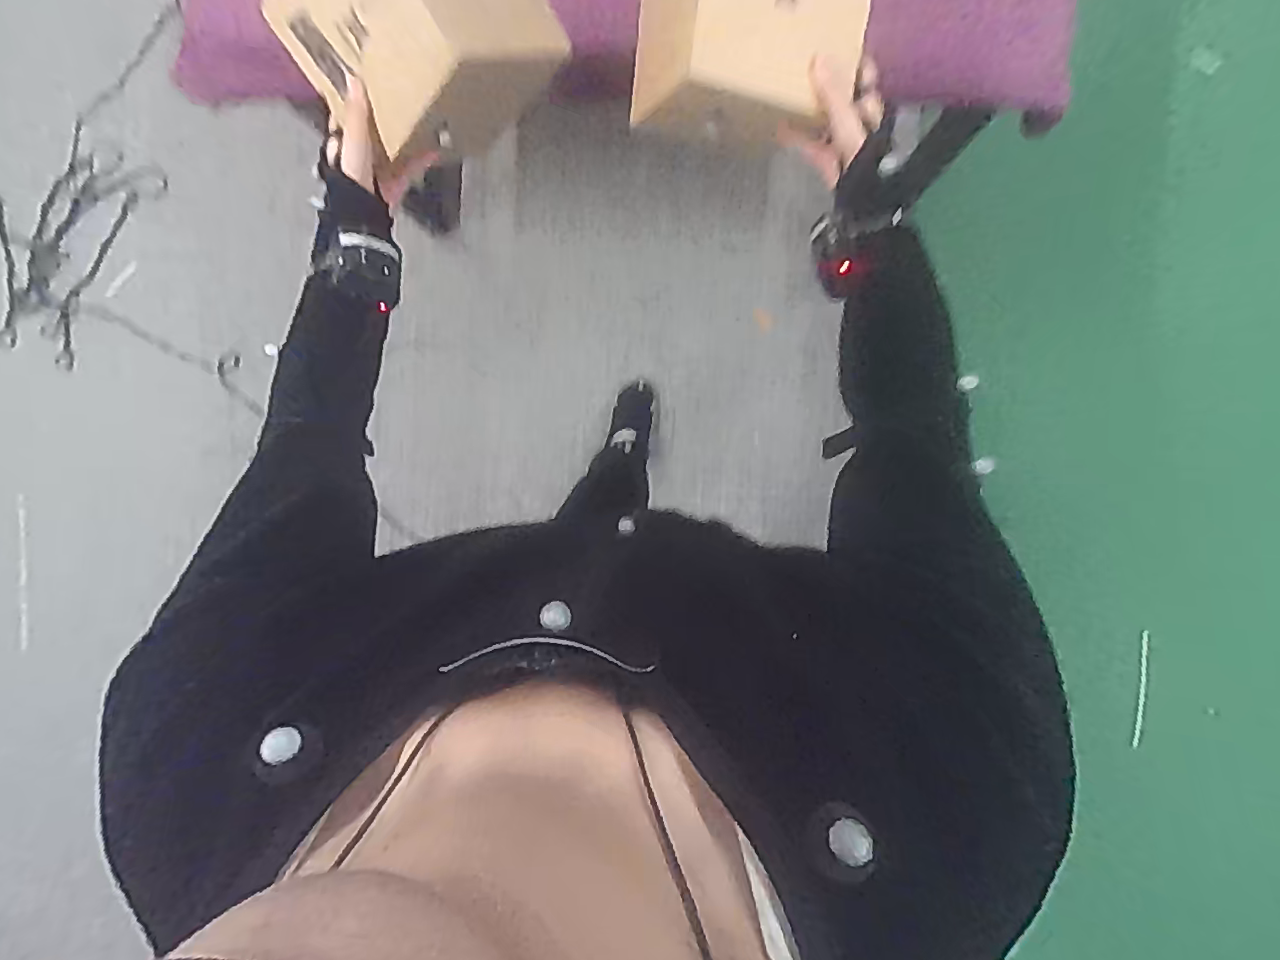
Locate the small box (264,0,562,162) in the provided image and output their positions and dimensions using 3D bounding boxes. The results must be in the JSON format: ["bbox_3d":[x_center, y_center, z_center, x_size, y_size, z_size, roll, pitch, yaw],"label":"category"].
[{"bbox_3d":[-0.210,-0.444,0.521,0.179,0.176,0.168,-16,114,40],"label":"small box"}]

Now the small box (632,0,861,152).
[{"bbox_3d":[0.097,-0.453,0.536,0.168,0.176,0.179,2,106,-19],"label":"small box"}]
